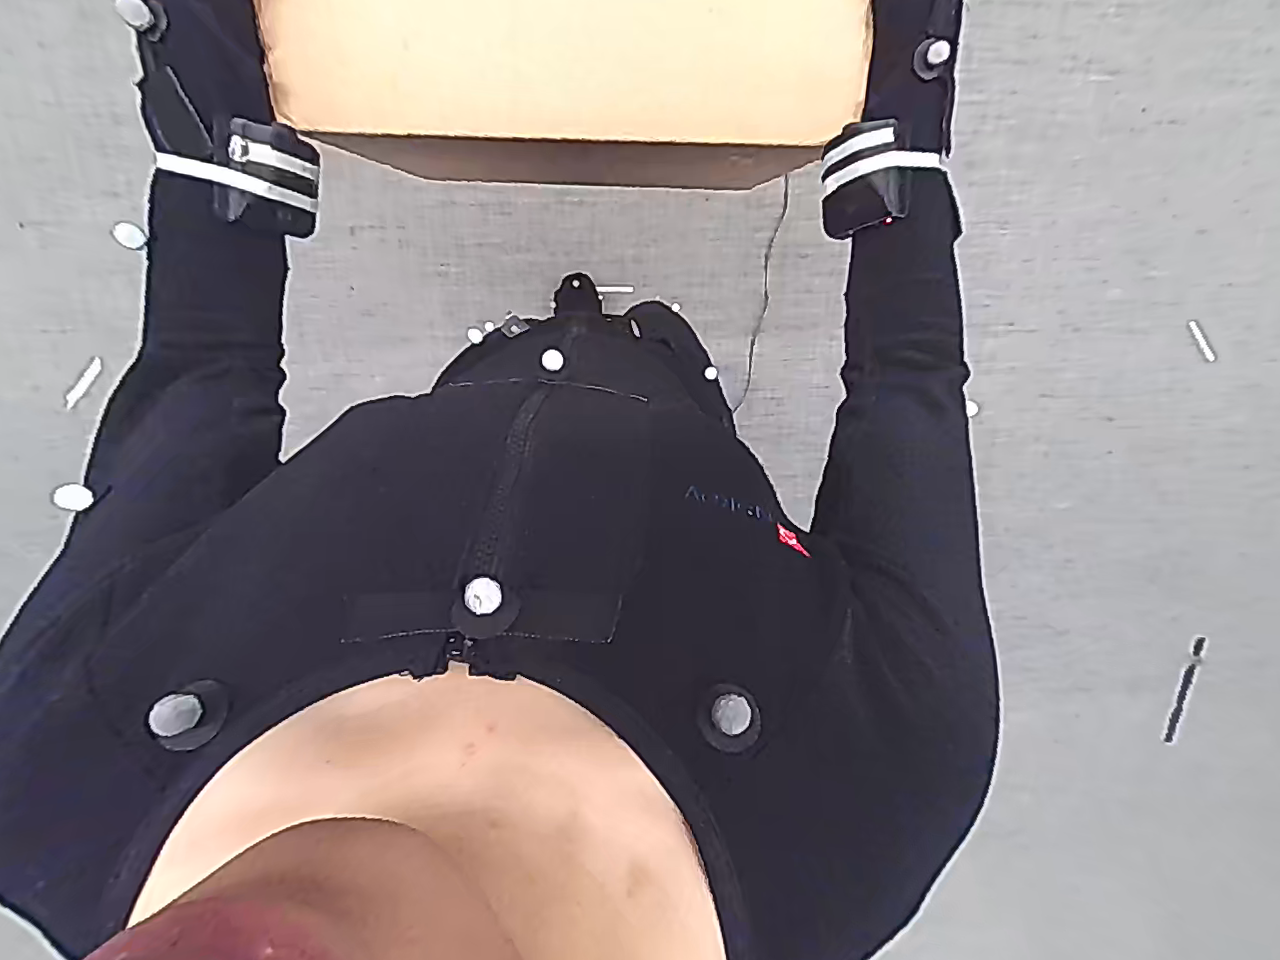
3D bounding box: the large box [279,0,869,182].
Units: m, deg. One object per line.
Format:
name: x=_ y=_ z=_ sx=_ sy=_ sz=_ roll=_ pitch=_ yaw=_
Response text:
large box: x=-0.049 y=-0.453 z=0.469 sx=0.408 sy=0.320 sz=0.320 roll=-1 pitch=113 yaw=-3
